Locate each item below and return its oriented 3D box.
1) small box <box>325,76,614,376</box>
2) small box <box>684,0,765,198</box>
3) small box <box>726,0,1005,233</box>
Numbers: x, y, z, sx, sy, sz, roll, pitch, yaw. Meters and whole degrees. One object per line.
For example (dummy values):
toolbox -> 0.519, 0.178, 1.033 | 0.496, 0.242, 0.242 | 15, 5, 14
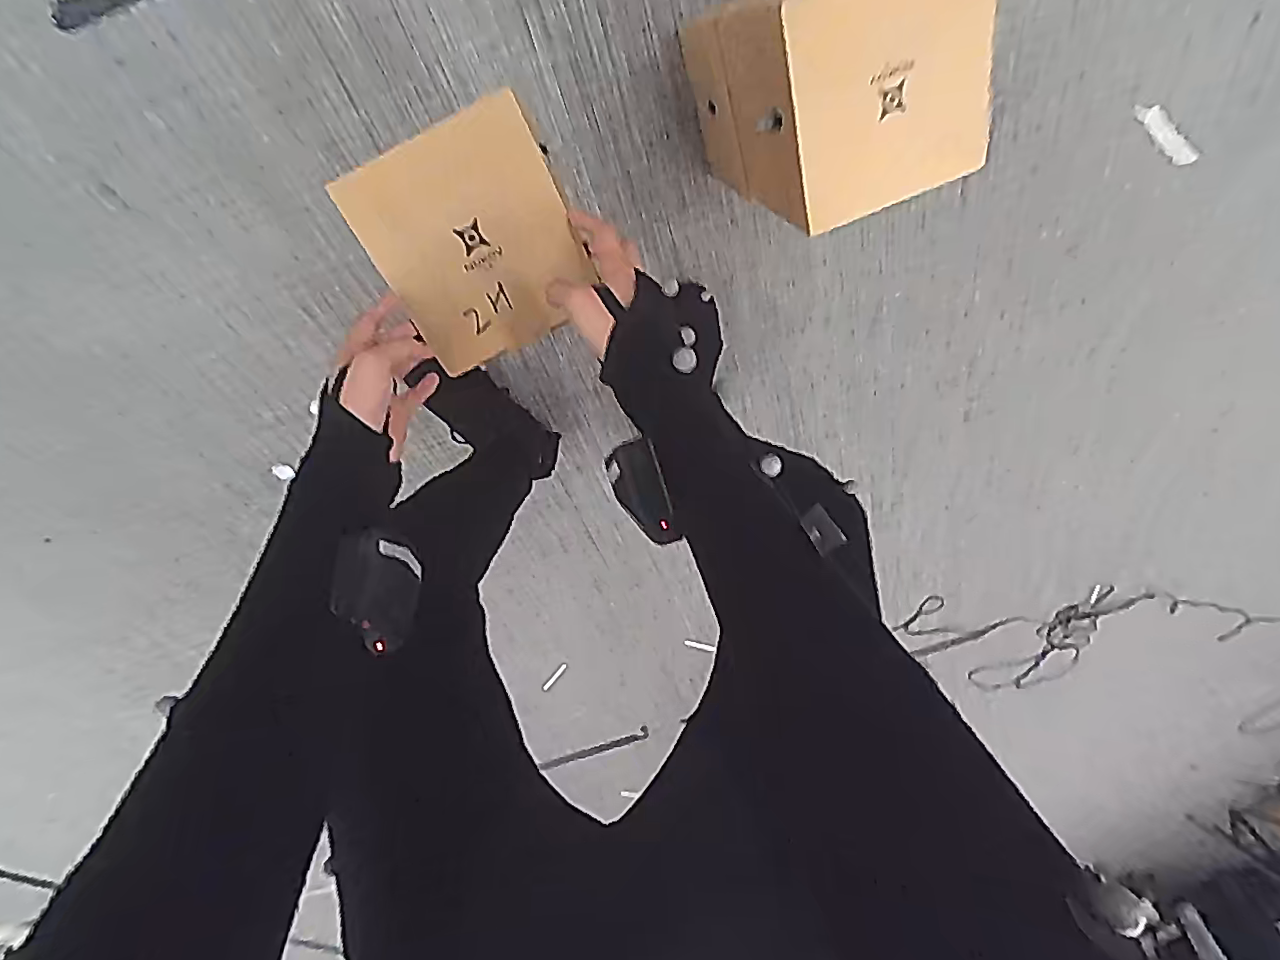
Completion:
small box -> -0.138, -0.226, 0.501 | 0.168, 0.176, 0.179 | -23, 119, 6
small box -> 0.163, -0.458, 0.618 | 0.168, 0.176, 0.179 | -21, 128, 5
small box -> 0.193, -0.360, 0.492 | 0.168, 0.176, 0.179 | -21, 128, 4
